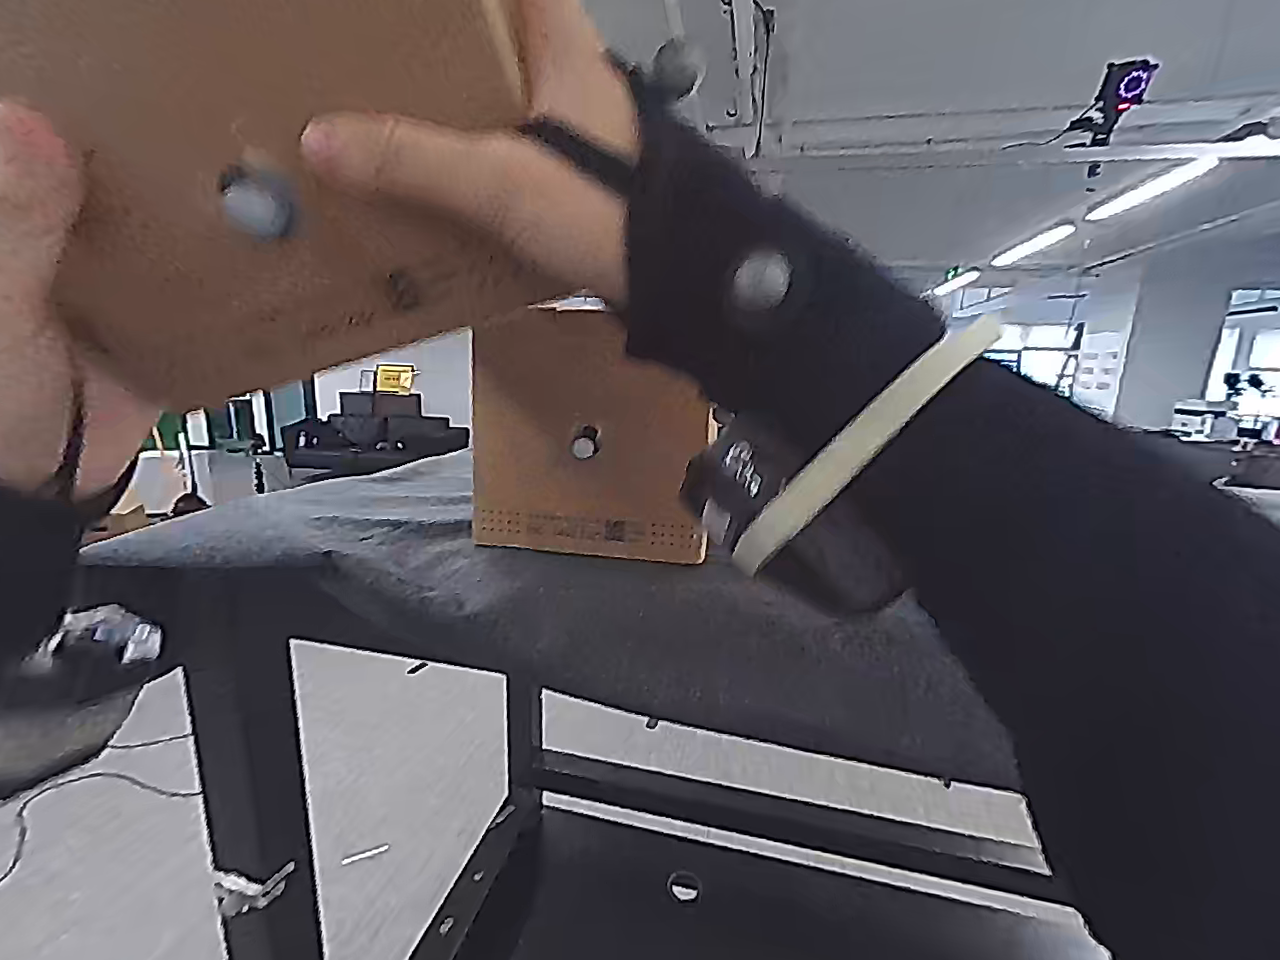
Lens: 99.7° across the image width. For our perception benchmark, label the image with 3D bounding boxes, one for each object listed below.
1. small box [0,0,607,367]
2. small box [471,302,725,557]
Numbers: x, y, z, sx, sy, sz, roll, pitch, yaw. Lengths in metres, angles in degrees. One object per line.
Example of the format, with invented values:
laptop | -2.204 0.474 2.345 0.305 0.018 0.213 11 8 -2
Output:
small box | -0.116 -0.170 0.204 0.168 0.176 0.179 -15 43 6
small box | -0.019 -0.045 0.437 0.168 0.176 0.179 5 11 8
